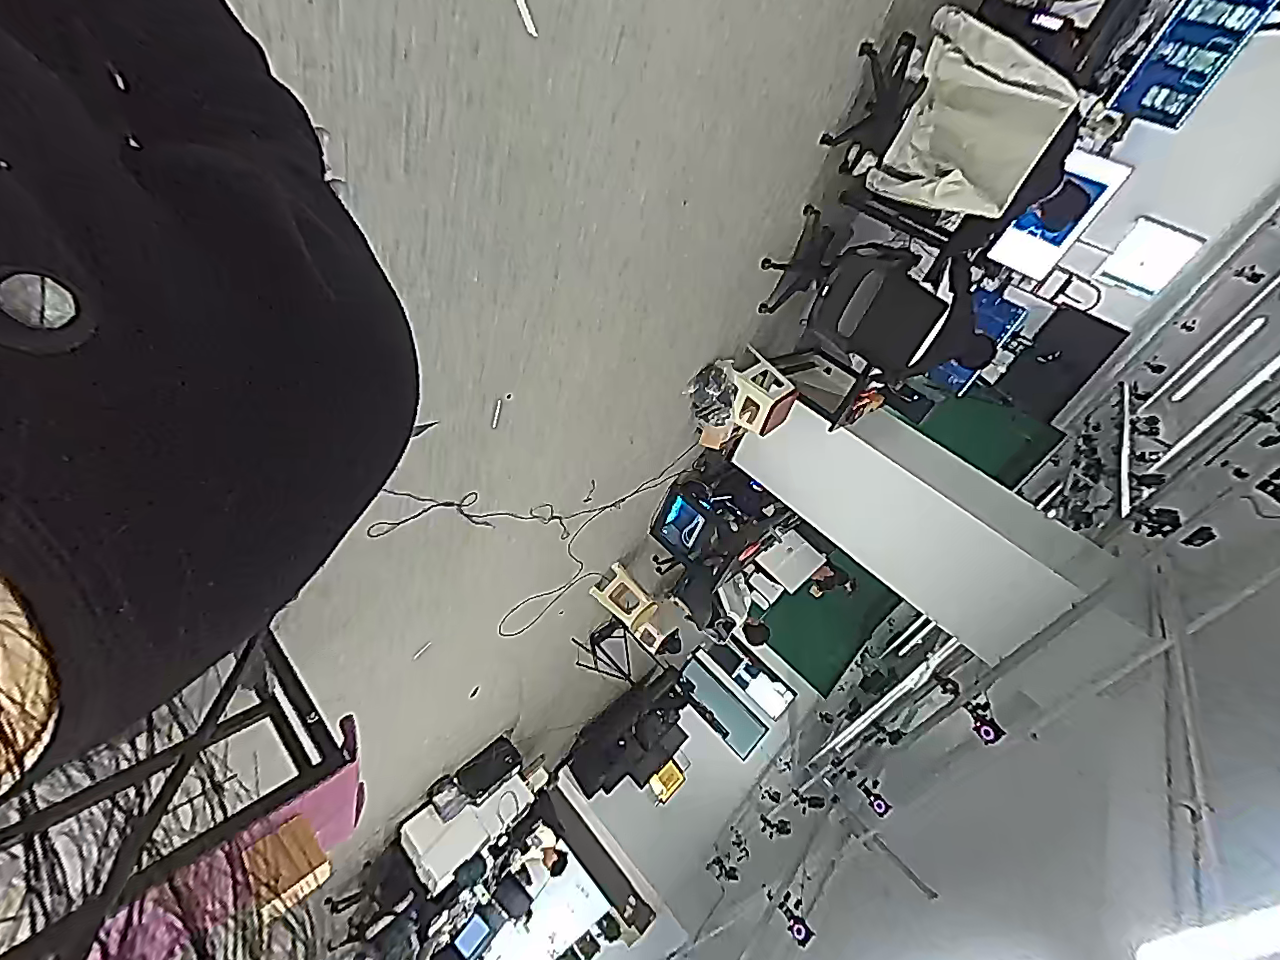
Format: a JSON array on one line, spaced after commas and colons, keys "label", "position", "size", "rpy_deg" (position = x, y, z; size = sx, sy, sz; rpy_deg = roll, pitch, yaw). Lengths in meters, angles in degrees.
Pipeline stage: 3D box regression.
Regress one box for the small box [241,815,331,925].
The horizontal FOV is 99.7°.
[{"label": "small box", "position": [-1.037, 1.137, 1.583], "size": [0.179, 0.176, 0.168], "rpy_deg": [-25, 149, -44]}]
